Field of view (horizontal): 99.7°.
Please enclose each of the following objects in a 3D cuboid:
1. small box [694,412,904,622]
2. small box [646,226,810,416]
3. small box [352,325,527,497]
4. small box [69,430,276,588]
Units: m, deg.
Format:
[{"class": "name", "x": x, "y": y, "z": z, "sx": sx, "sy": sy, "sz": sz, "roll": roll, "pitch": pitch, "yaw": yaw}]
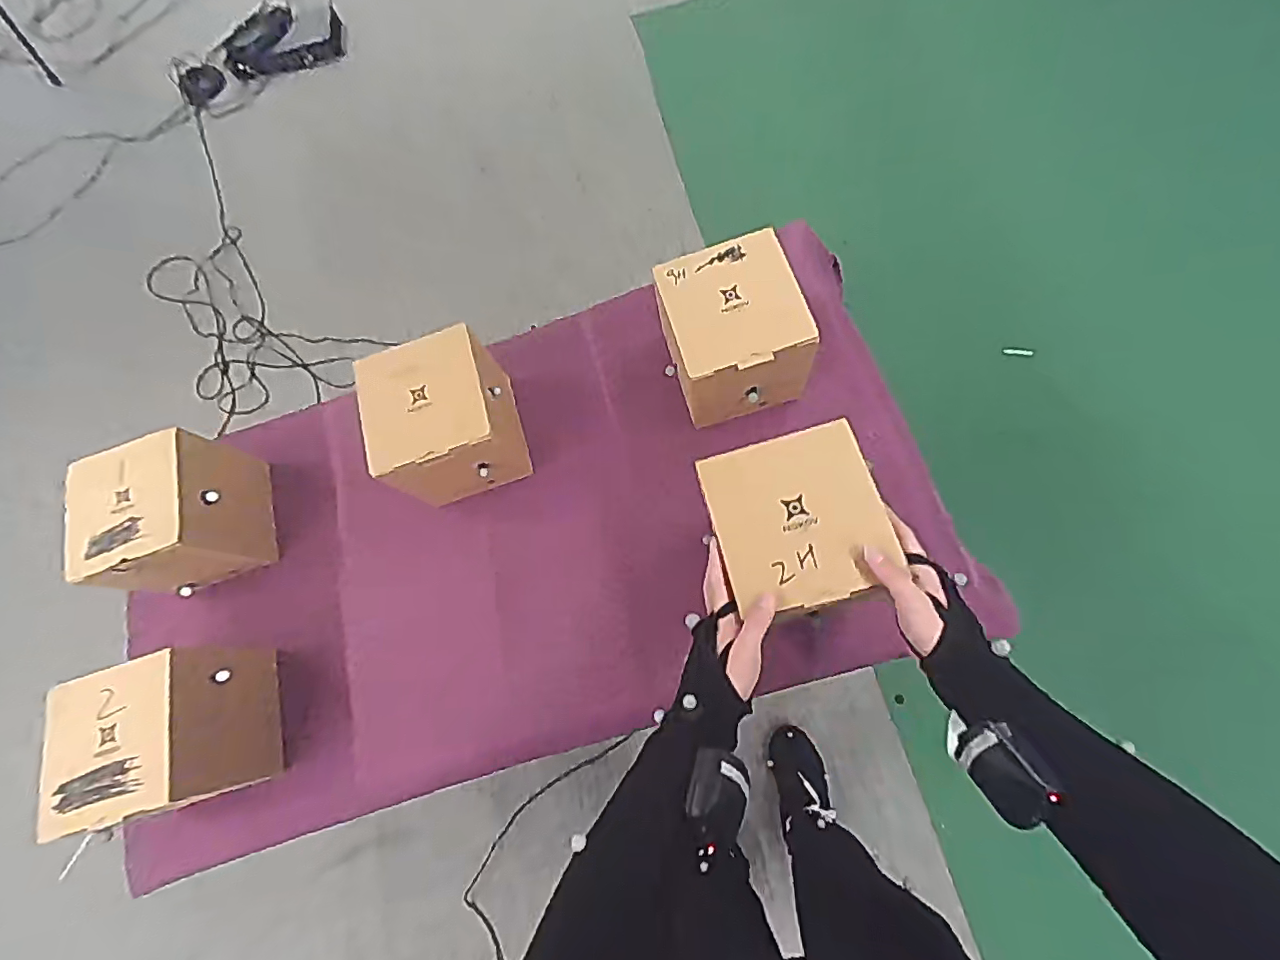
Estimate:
[{"class": "small box", "x": 0.167, "y": 0.053, "z": 0.616, "sx": 0.168, "sy": 0.176, "sz": 0.179, "roll": -17, "pitch": 69, "yaw": 7}, {"class": "small box", "x": 0.119, "y": -0.203, "z": 0.750, "sx": 0.168, "sy": 0.176, "sz": 0.179, "roll": -18, "pitch": 73, "yaw": 4}, {"class": "small box", "x": -0.279, "y": -0.085, "z": 0.780, "sx": 0.168, "sy": 0.176, "sz": 0.179, "roll": -19, "pitch": 72, "yaw": 3}, {"class": "small box", "x": -0.678, "y": 0.054, "z": 0.800, "sx": 0.168, "sy": 0.176, "sz": 0.179, "roll": -20, "pitch": 72, "yaw": 3}]
